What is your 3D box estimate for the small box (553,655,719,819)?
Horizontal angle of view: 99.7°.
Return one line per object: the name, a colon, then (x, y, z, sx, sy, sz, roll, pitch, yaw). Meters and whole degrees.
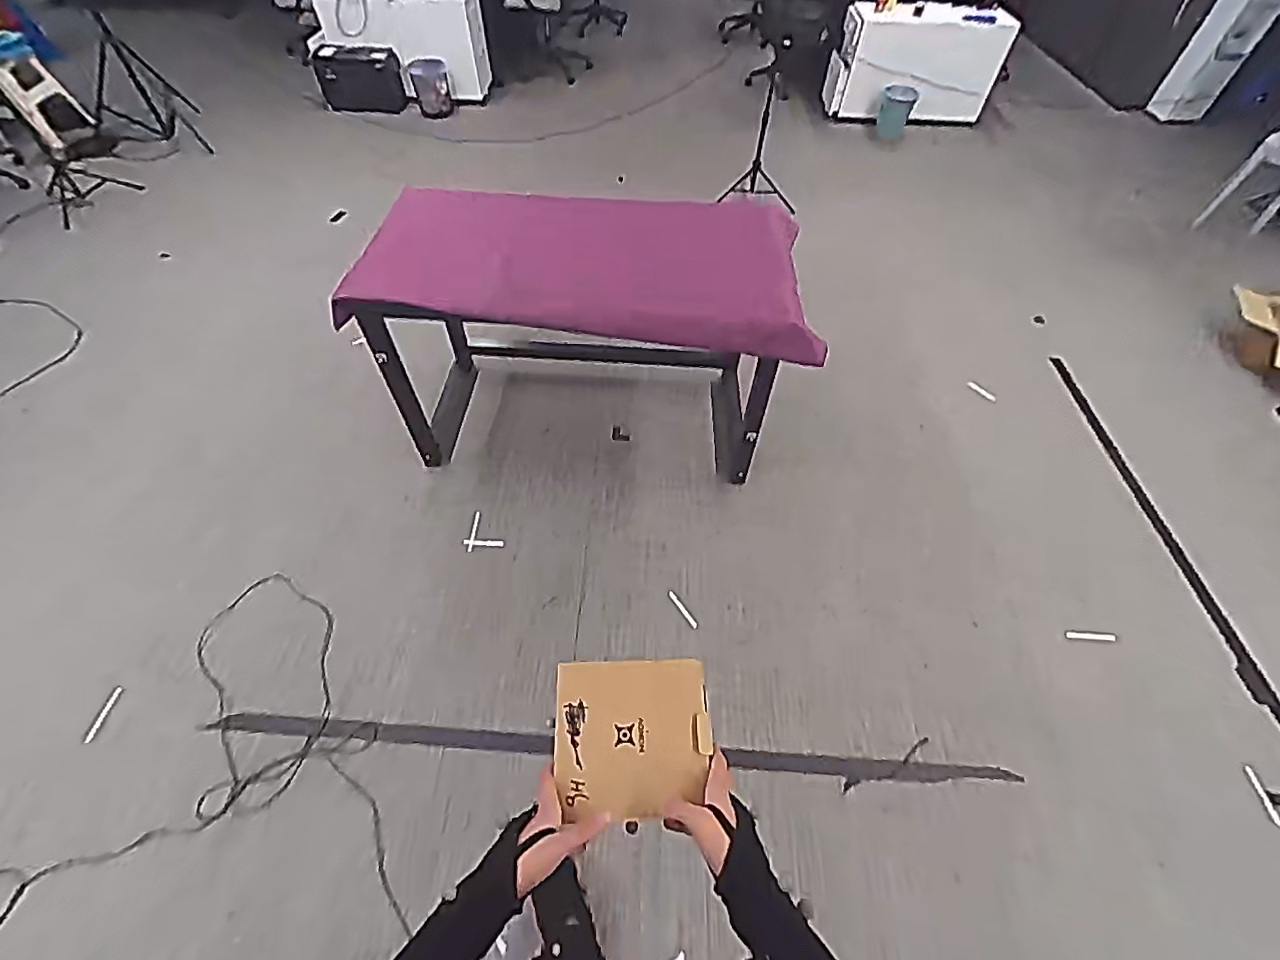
small box: (-0.009, 0.318, 0.668, 0.179, 0.176, 0.168, 0, 59, -3)
